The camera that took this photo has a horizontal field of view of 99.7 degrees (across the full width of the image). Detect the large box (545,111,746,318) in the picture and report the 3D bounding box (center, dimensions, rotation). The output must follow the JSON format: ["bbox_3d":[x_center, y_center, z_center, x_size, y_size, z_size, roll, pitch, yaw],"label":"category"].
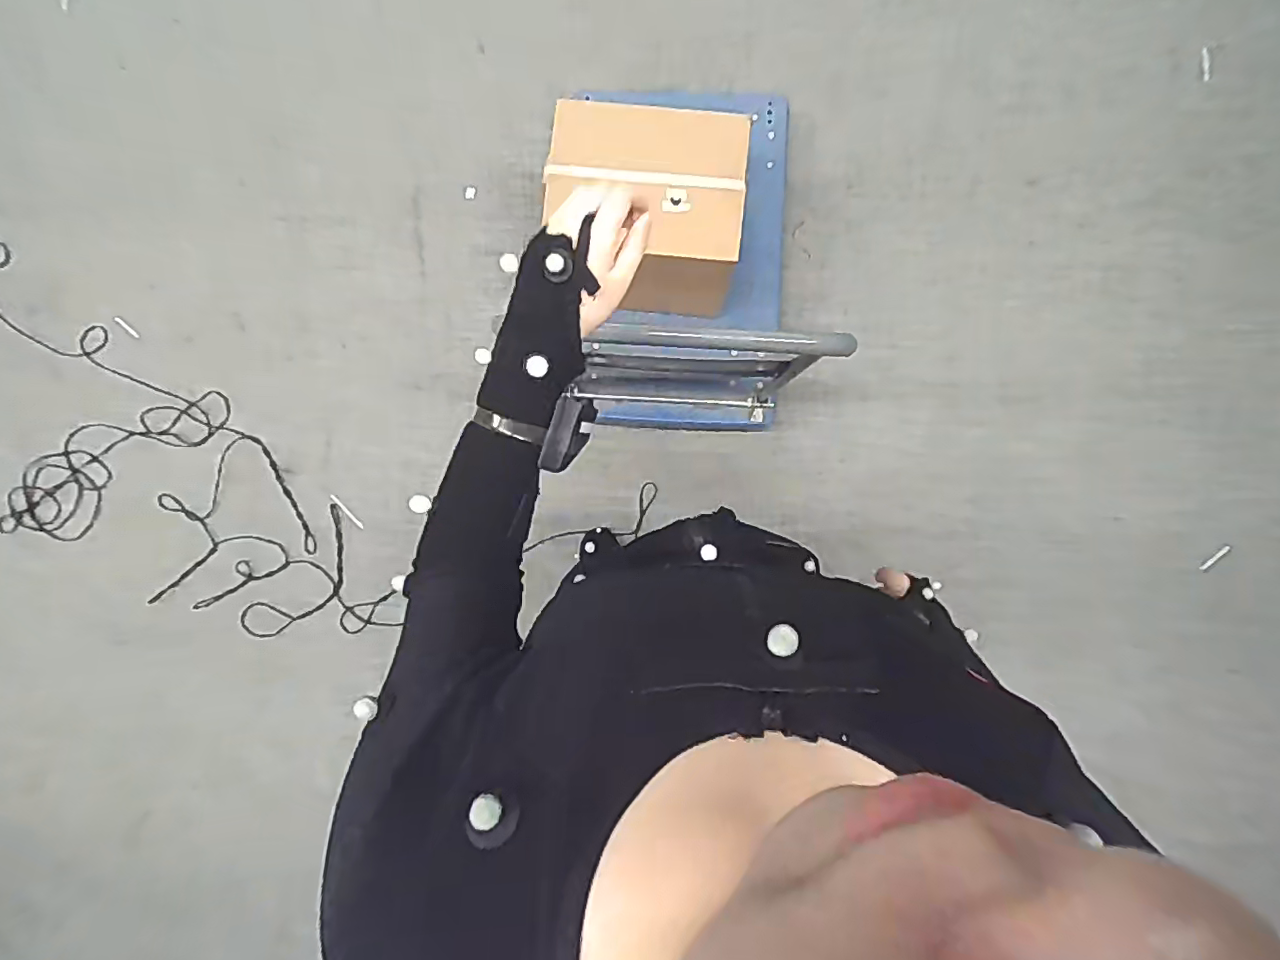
[{"bbox_3d":[0.012,-0.597,1.268,0.408,0.320,0.320,6,86,1],"label":"large box"}]
